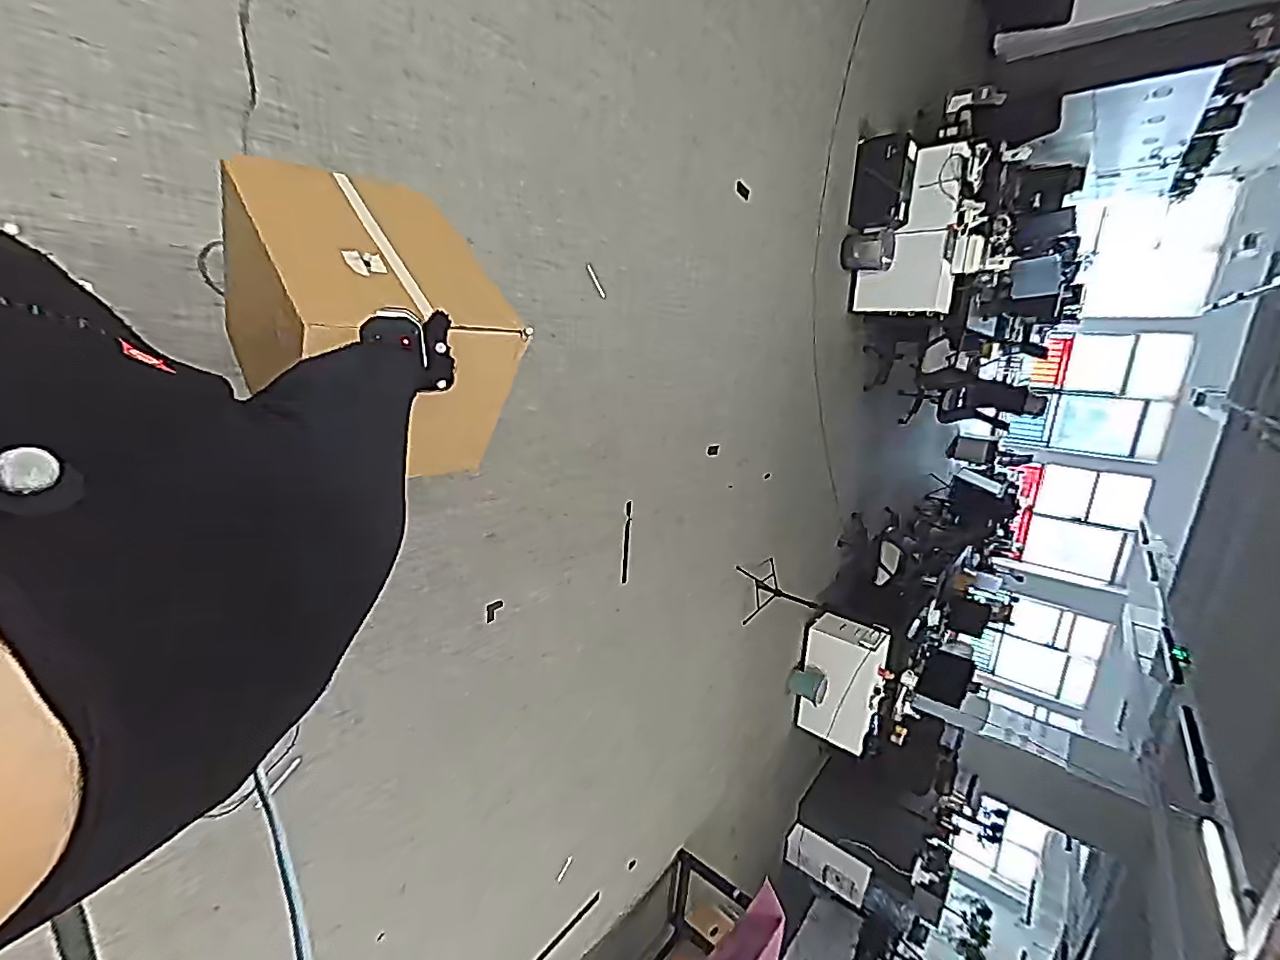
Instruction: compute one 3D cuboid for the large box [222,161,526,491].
[{"bbox_3d":[-0.464,-0.247,0.911,0.320,0.408,0.320,-13,149,-44],"label":"large box"}]
